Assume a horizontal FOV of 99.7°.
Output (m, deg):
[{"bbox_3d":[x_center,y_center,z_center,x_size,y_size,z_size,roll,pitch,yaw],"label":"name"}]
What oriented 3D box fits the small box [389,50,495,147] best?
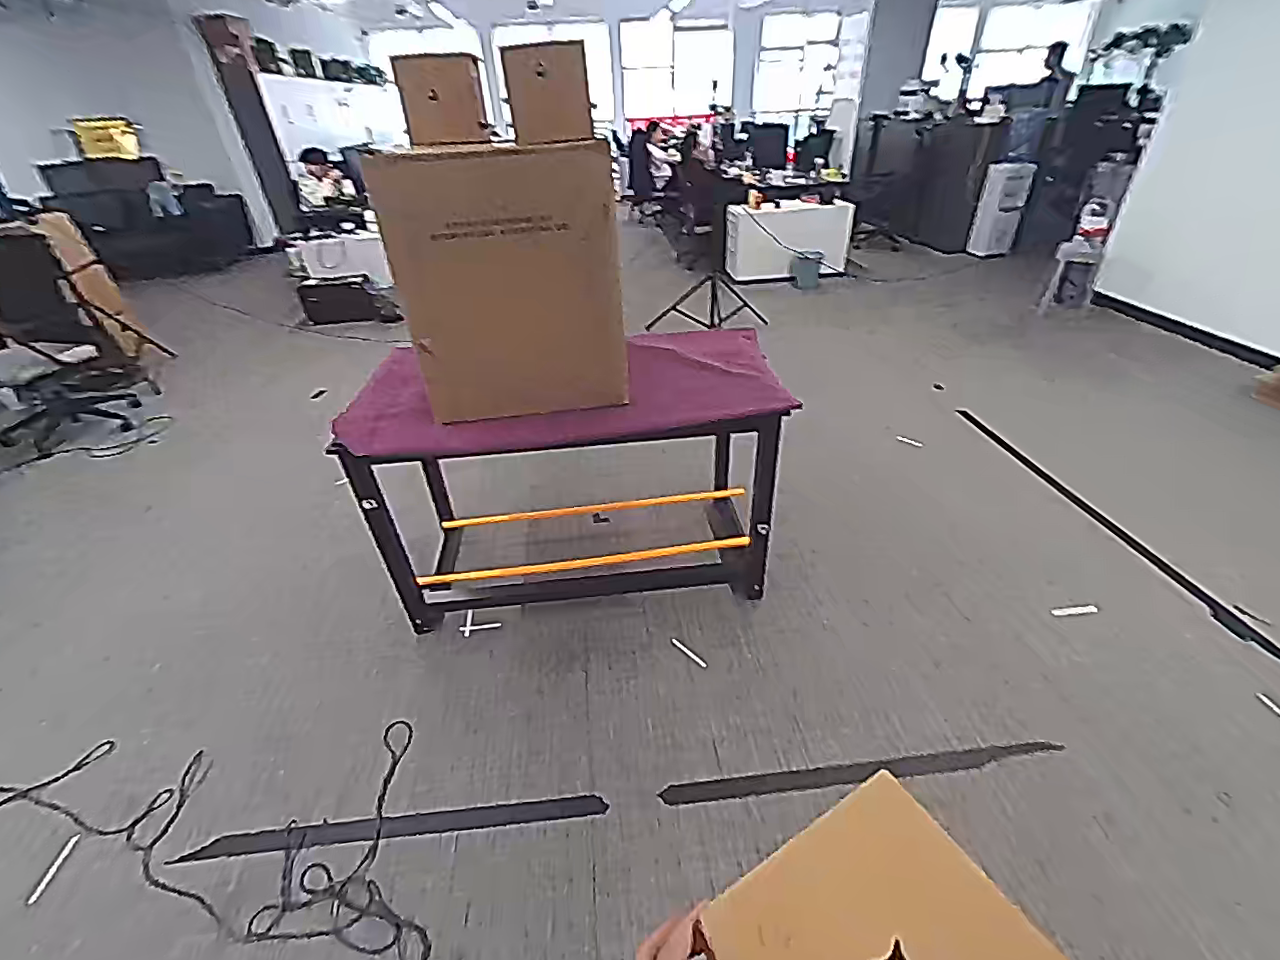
[{"bbox_3d":[-0.453,-0.894,1.273,0.179,0.176,0.168,-5,34,0],"label":"small box"}]
